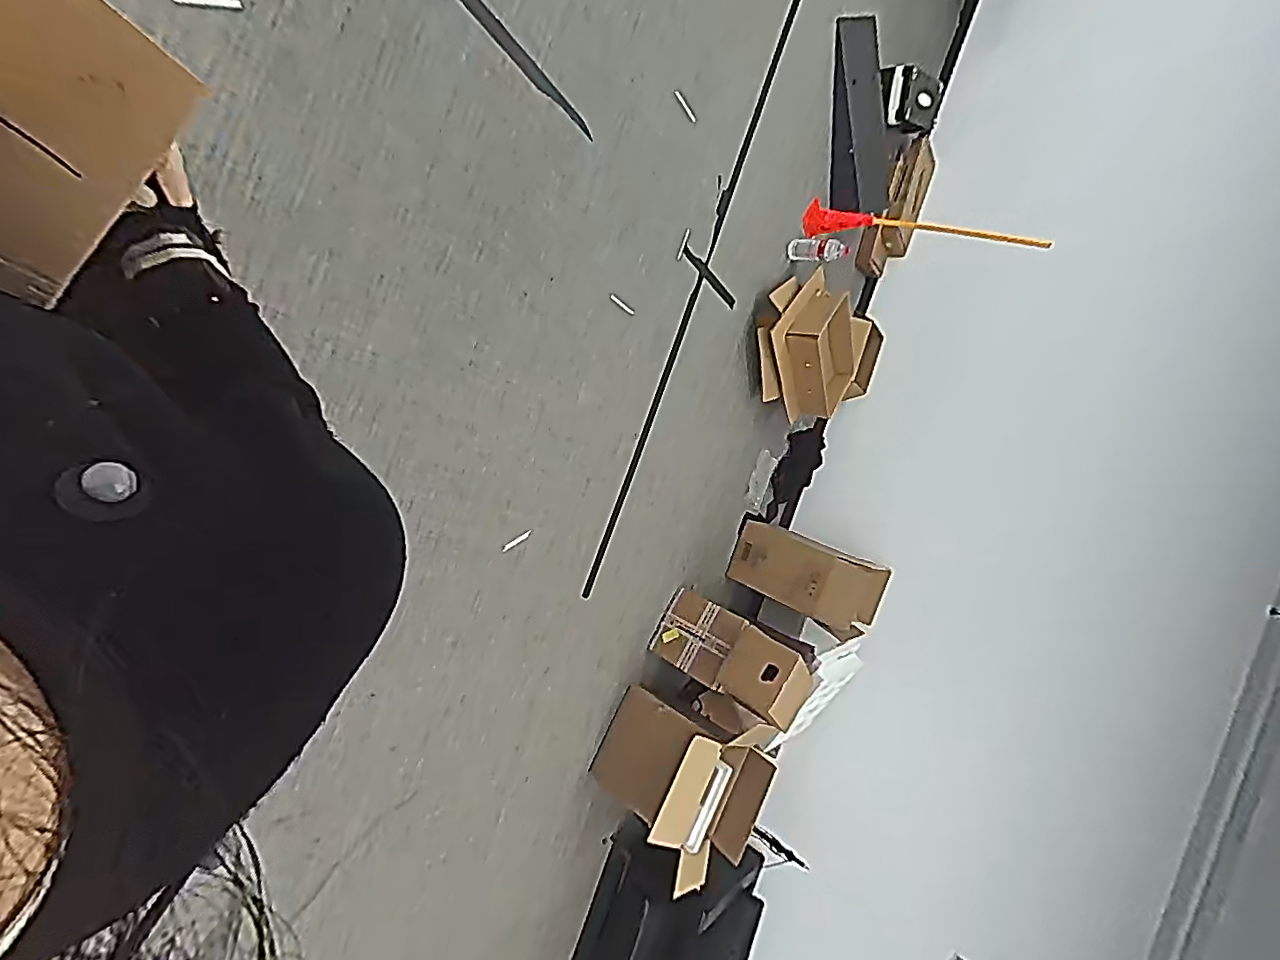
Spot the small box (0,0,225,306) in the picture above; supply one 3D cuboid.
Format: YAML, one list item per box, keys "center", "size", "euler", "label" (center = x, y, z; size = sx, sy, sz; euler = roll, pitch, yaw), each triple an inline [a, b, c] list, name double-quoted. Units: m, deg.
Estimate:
- center: [-0.392, -0.237, 0.312]
  size: [0.168, 0.176, 0.179]
  euler: [-52, 141, 1]
  label: "small box"
